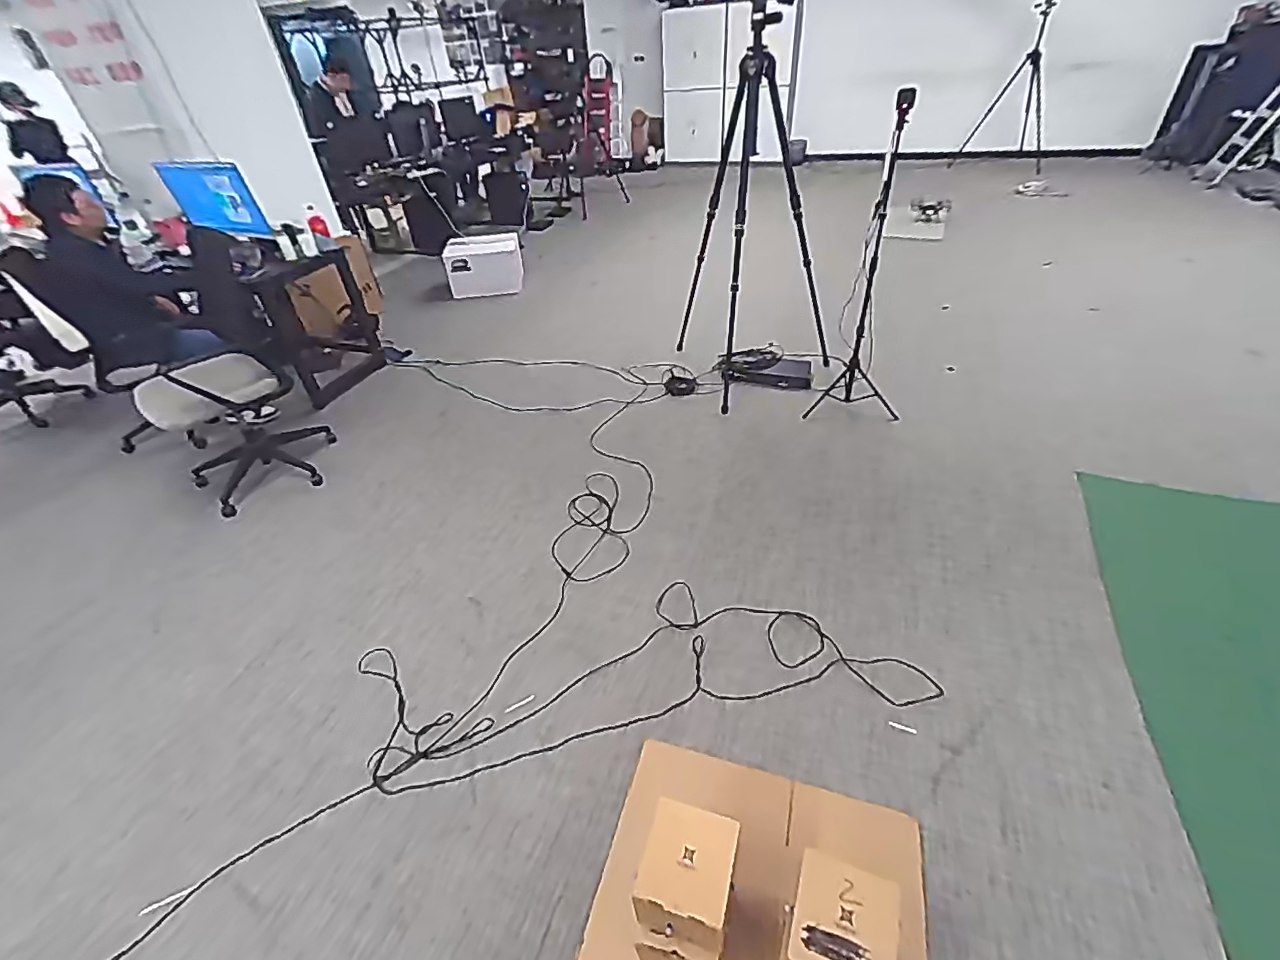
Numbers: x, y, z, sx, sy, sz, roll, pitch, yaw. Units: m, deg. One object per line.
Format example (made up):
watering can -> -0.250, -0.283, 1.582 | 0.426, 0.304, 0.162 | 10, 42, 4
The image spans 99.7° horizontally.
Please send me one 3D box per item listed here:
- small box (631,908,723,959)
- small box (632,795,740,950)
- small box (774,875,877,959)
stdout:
small box -> 0.090, 0.903, 1.133 | 0.168, 0.176, 0.179 | 7, 40, 15
small box -> 0.092, 0.760, 1.050 | 0.168, 0.176, 0.179 | 9, 41, 17
small box -> 0.359, 0.936, 1.067 | 0.168, 0.176, 0.179 | 11, 42, 21
